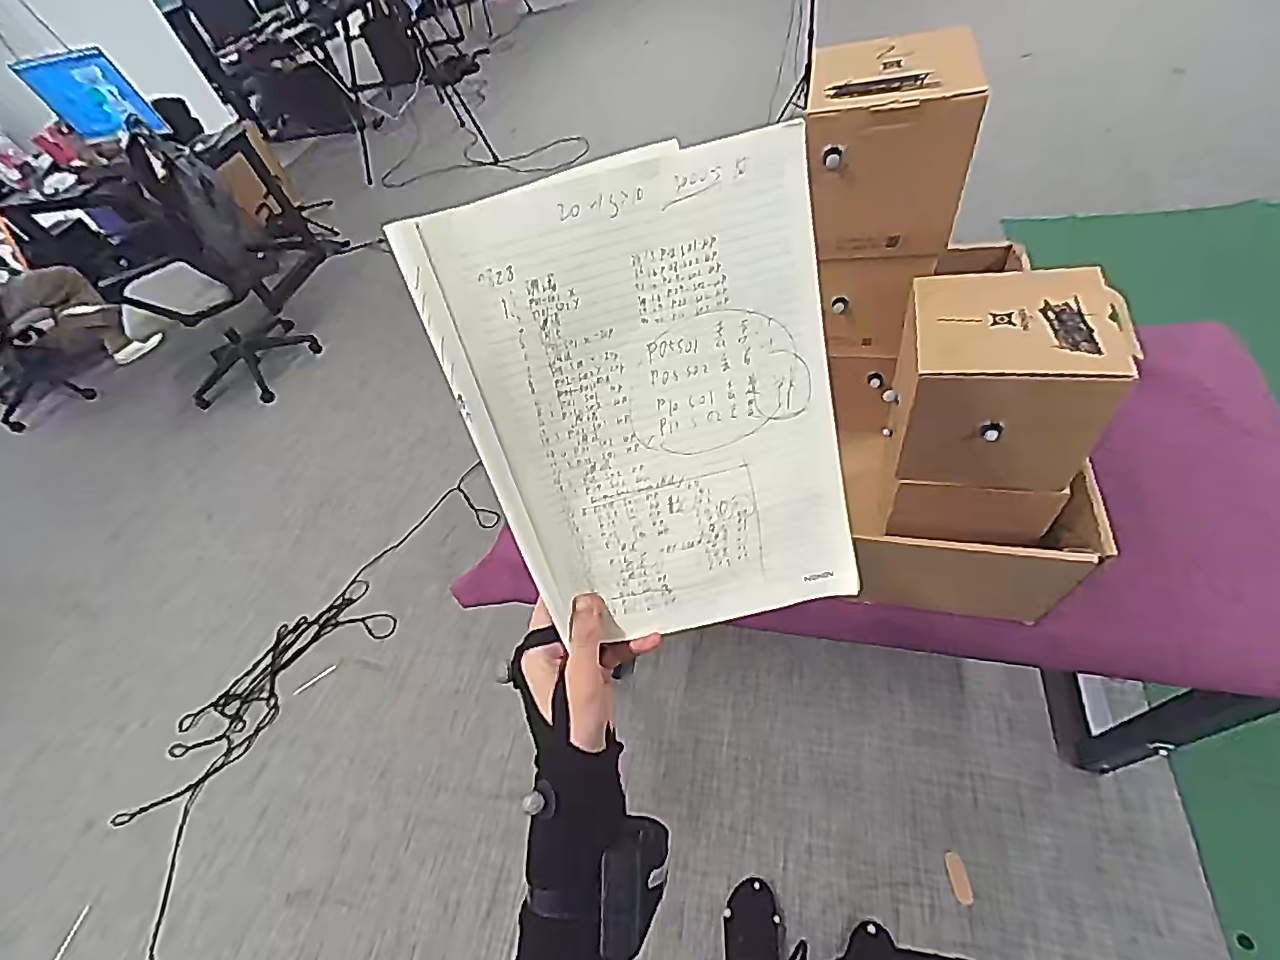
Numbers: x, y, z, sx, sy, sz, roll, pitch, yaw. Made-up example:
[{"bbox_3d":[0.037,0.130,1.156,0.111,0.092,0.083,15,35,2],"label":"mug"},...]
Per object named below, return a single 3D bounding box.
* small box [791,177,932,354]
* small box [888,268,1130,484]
[{"bbox_3d":[0.309,-0.298,0.772,0.168,0.176,0.179,6,56,18],"label":"small box"},{"bbox_3d":[0.383,-0.111,0.601,0.179,0.176,0.168,4,53,20],"label":"small box"}]
